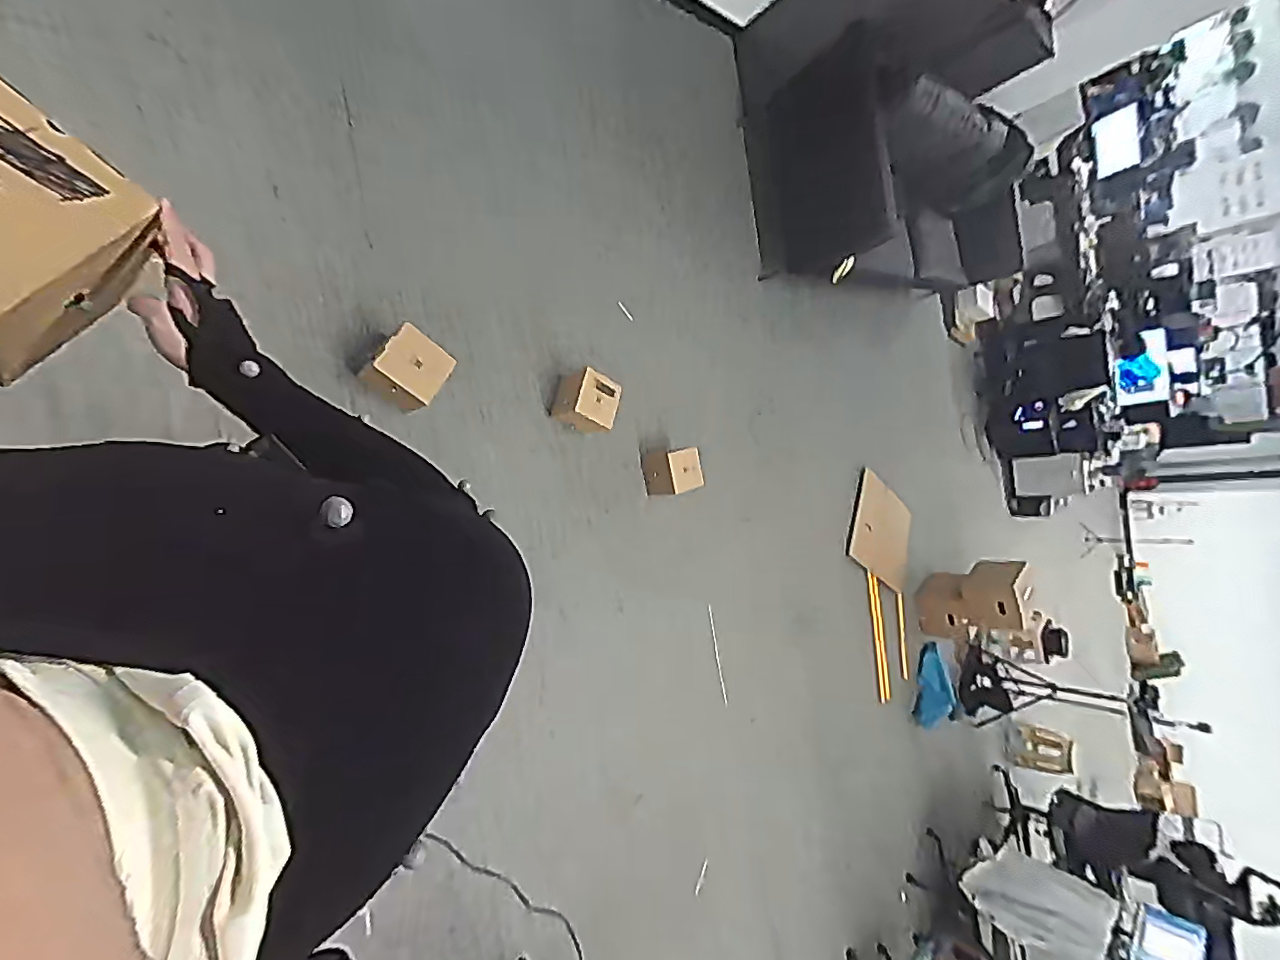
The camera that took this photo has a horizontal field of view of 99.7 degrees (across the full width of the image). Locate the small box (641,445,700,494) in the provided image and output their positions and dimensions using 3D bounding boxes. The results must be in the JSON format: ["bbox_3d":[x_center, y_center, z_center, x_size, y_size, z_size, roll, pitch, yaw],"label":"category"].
[{"bbox_3d":[0.120,-0.042,2.233,0.179,0.176,0.168,-17,98,-41],"label":"small box"}]

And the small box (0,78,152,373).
[{"bbox_3d":[-0.575,-0.221,0.456,0.168,0.176,0.179,43,53,-30],"label":"small box"}]
